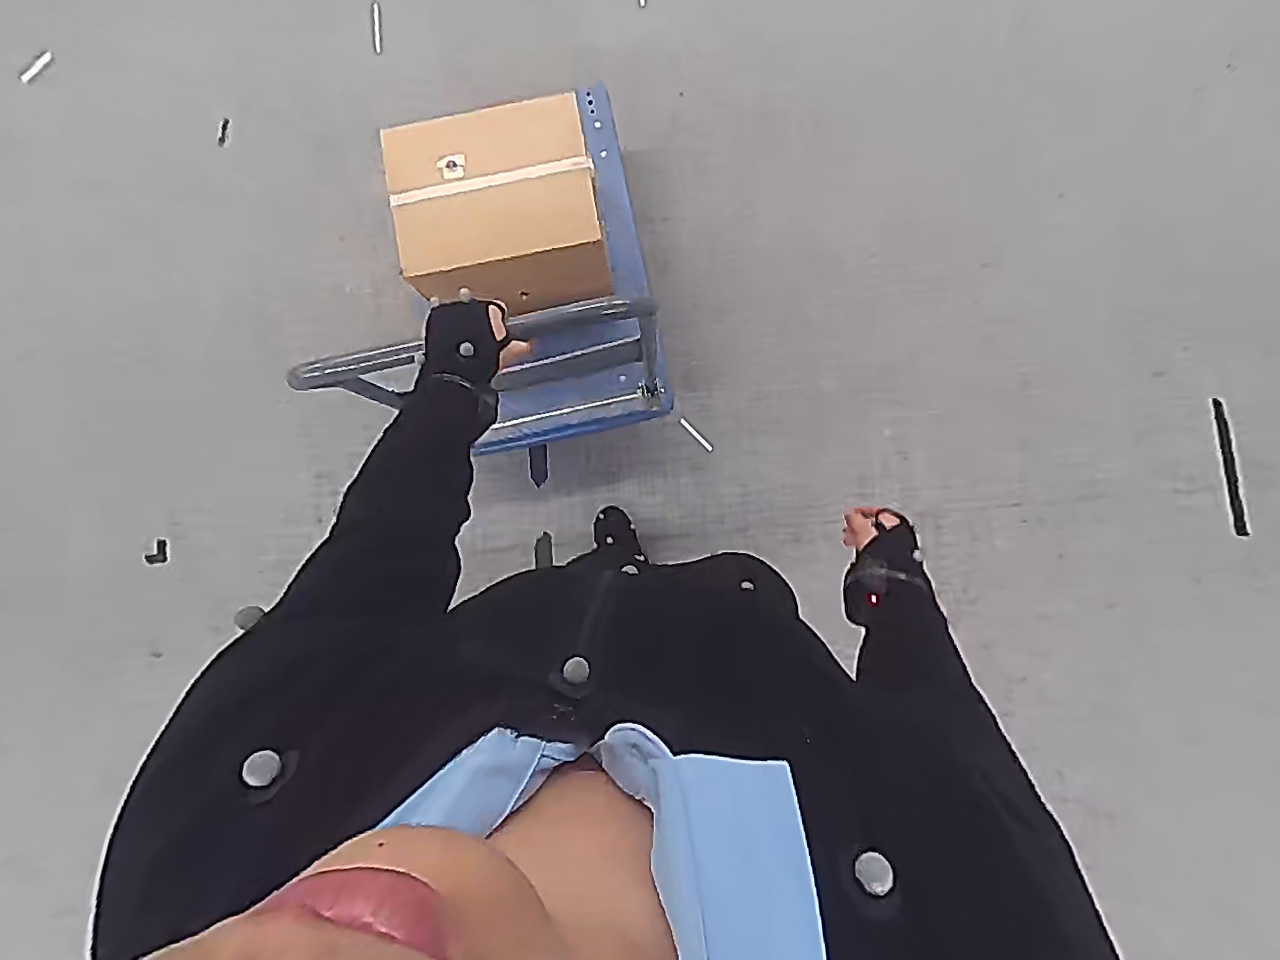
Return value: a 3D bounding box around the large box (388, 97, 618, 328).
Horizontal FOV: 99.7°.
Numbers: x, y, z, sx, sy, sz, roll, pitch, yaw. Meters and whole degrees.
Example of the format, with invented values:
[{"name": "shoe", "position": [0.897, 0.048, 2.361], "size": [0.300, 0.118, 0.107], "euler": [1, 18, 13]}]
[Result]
[{"name": "large box", "position": [-0.285, -0.578, 1.236], "size": [0.408, 0.320, 0.320], "euler": [-10, 85, 3]}]
